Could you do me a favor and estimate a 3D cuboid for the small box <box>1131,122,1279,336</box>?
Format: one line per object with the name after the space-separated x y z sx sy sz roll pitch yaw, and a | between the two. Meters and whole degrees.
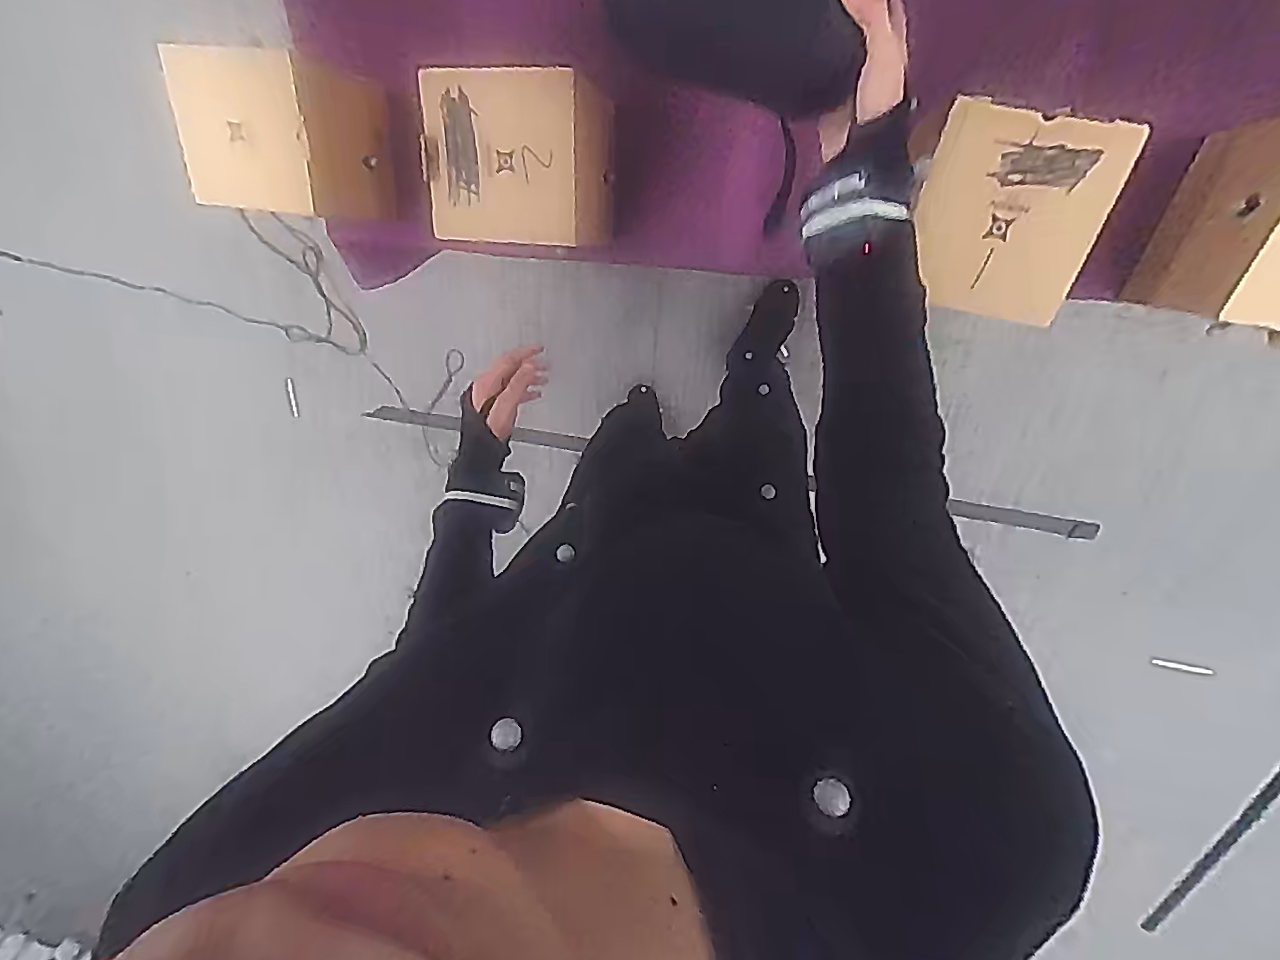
0.644 -0.237 0.524 0.168 0.176 0.179 16 117 8 | small box

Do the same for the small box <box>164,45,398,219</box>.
-0.449 -0.440 0.707 0.179 0.176 0.168 9 116 9 | small box
